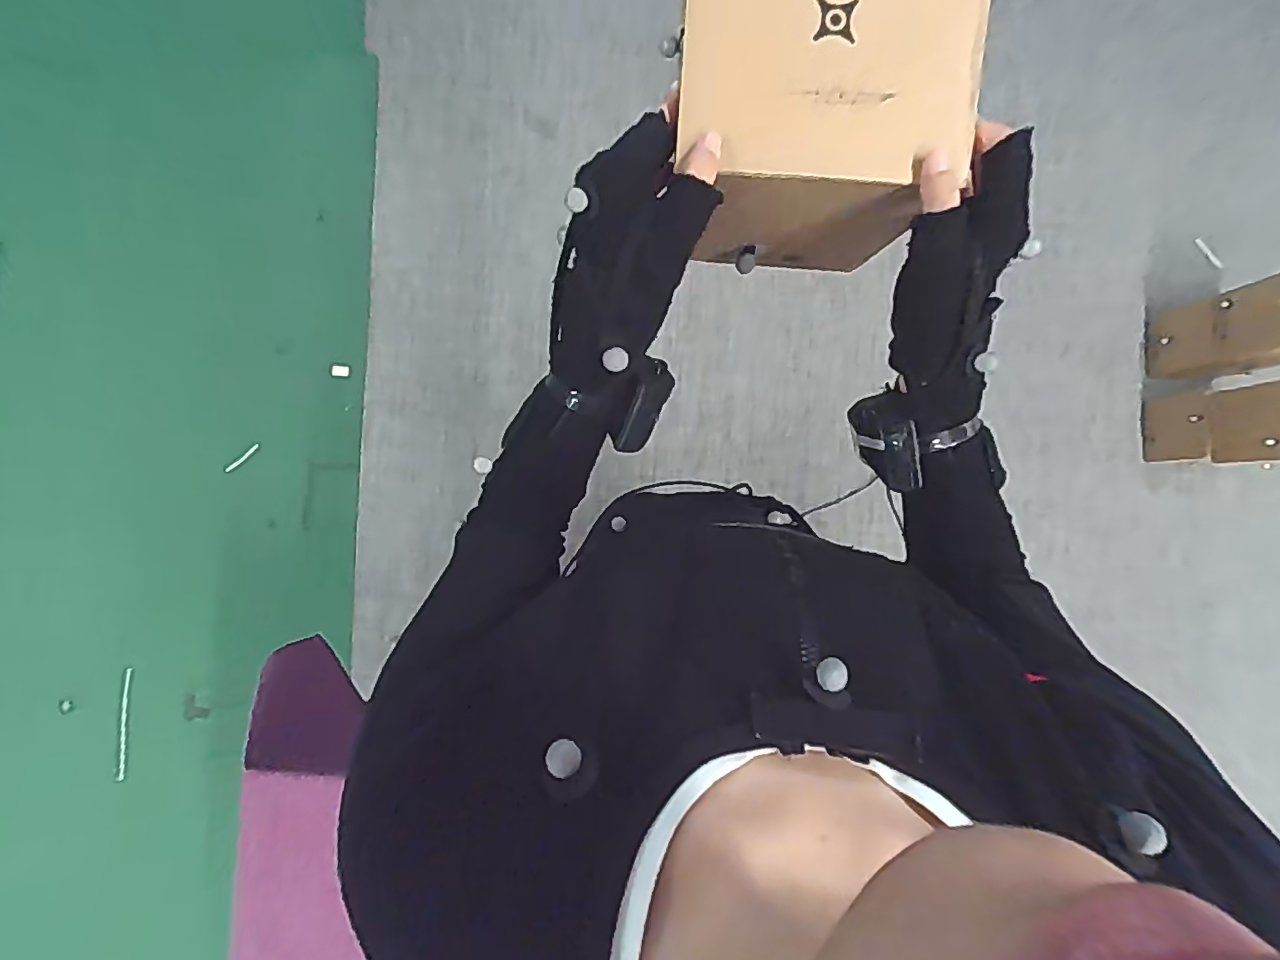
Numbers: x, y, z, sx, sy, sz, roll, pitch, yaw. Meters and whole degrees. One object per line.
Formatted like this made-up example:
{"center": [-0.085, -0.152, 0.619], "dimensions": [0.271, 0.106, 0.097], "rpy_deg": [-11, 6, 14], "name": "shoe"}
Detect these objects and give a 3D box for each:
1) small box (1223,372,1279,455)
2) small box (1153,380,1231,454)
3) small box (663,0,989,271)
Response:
{"center": [1.437, -0.148, 1.179], "dimensions": [0.168, 0.176, 0.179], "rpy_deg": [-1, 90, 3], "name": "small box"}
{"center": [1.440, -0.152, 1.342], "dimensions": [0.179, 0.176, 0.168], "rpy_deg": [0, 89, 2], "name": "small box"}
{"center": [0.106, -0.263, 0.375], "dimensions": [0.168, 0.176, 0.179], "rpy_deg": [4, 98, -1], "name": "small box"}
